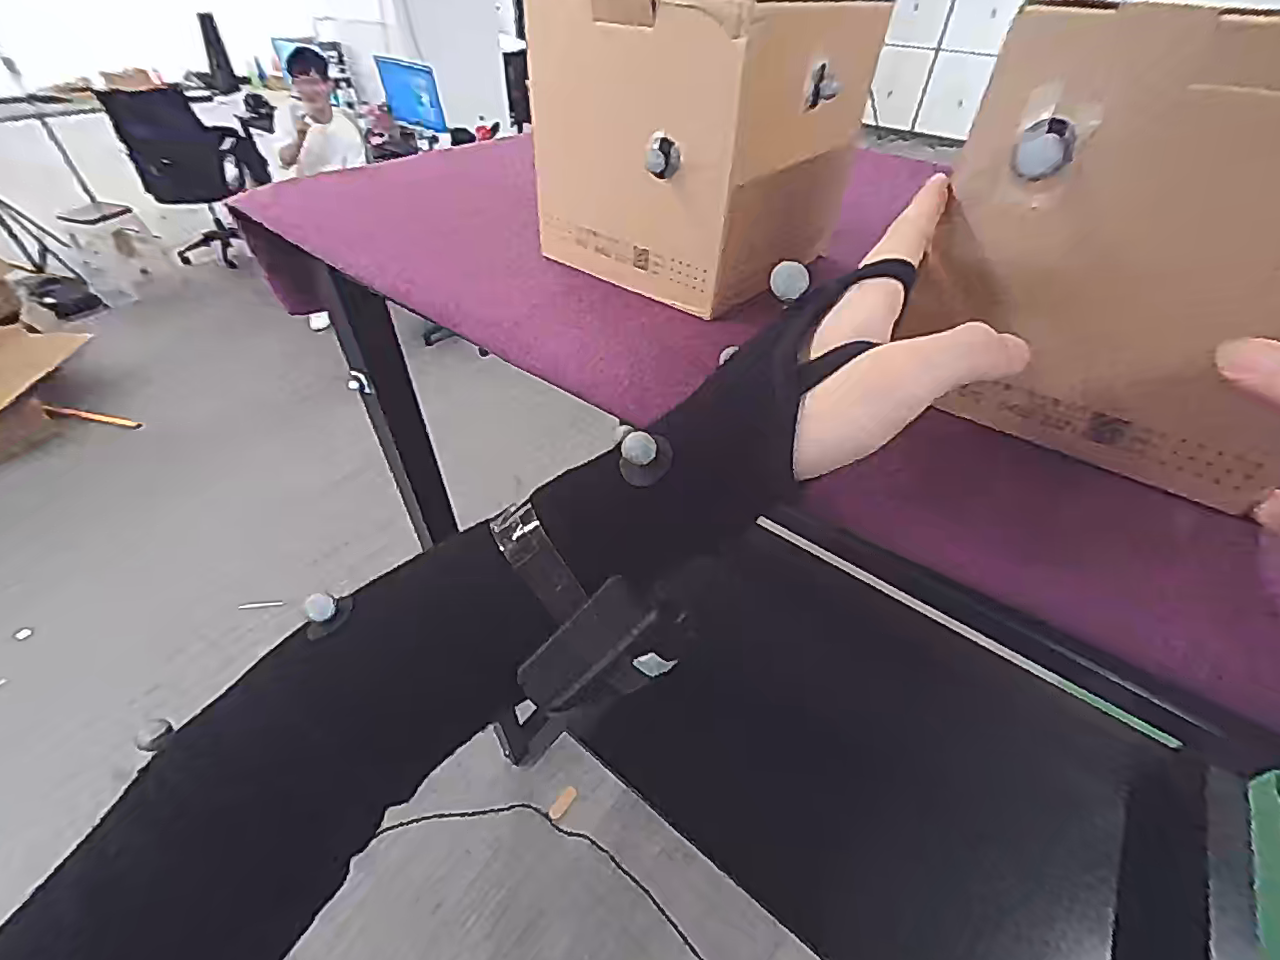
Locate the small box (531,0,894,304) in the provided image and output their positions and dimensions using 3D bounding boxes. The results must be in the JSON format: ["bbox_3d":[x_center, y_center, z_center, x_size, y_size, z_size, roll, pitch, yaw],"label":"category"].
[{"bbox_3d":[0.047,-0.246,0.389,0.168,0.176,0.179,32,49,27],"label":"small box"}]
